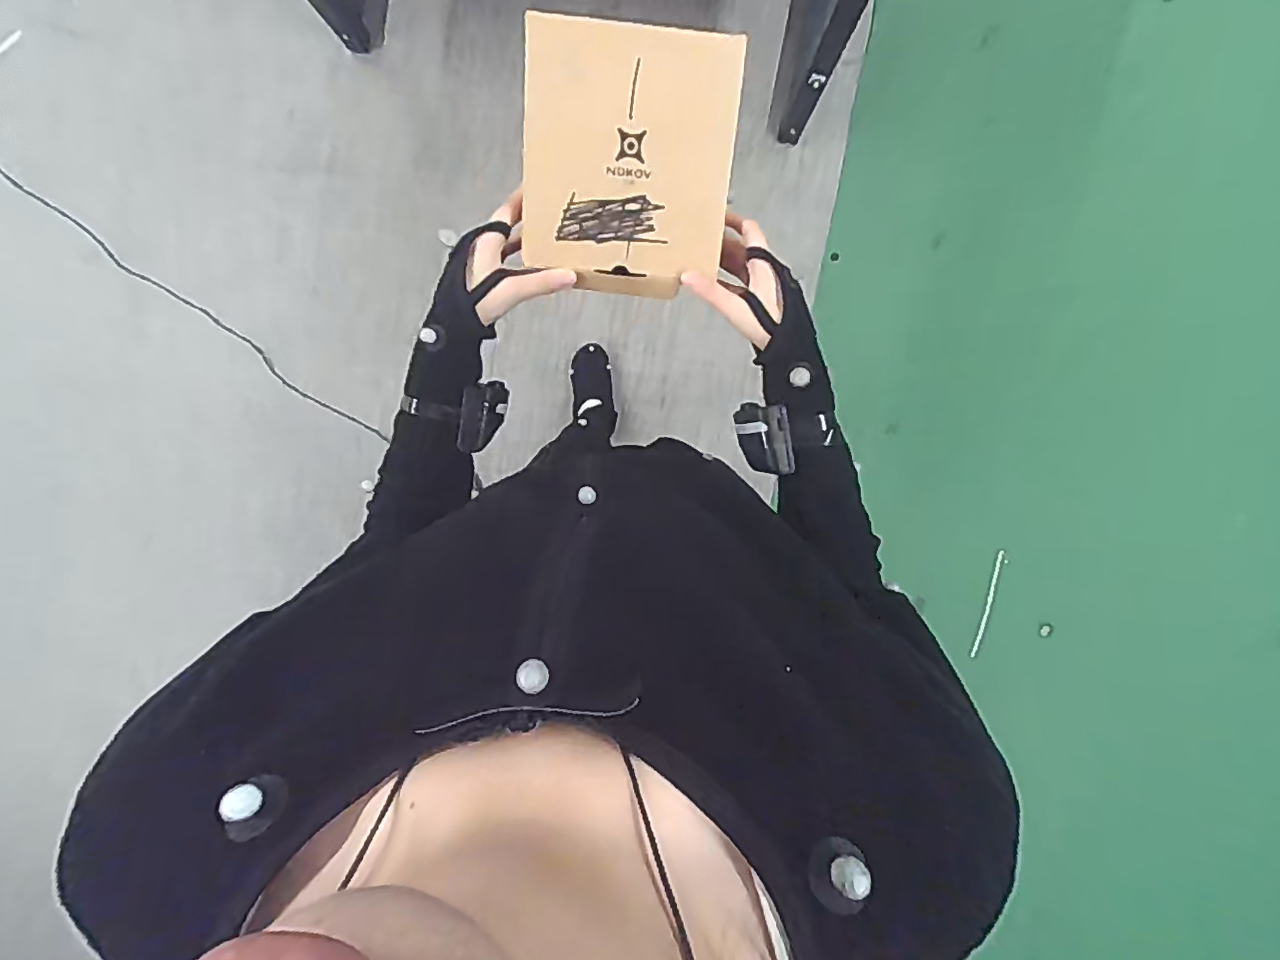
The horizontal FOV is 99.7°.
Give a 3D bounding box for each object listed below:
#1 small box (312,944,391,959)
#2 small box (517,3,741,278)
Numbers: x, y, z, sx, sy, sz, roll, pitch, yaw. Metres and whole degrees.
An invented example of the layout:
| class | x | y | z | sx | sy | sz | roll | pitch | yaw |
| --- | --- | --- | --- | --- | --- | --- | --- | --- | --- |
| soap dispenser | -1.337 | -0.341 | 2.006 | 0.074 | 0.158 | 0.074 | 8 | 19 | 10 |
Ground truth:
| class | x | y | z | sx | sy | sz | roll | pitch | yaw |
| --- | --- | --- | --- | --- | --- | --- | --- | --- | --- |
| small box | -0.641 | 1.135 | 1.149 | 0.168 | 0.176 | 0.179 | -4 | 96 | 2 |
| small box | -0.014 | -0.287 | 0.502 | 0.168 | 0.176 | 0.179 | 5 | 109 | -3 |
